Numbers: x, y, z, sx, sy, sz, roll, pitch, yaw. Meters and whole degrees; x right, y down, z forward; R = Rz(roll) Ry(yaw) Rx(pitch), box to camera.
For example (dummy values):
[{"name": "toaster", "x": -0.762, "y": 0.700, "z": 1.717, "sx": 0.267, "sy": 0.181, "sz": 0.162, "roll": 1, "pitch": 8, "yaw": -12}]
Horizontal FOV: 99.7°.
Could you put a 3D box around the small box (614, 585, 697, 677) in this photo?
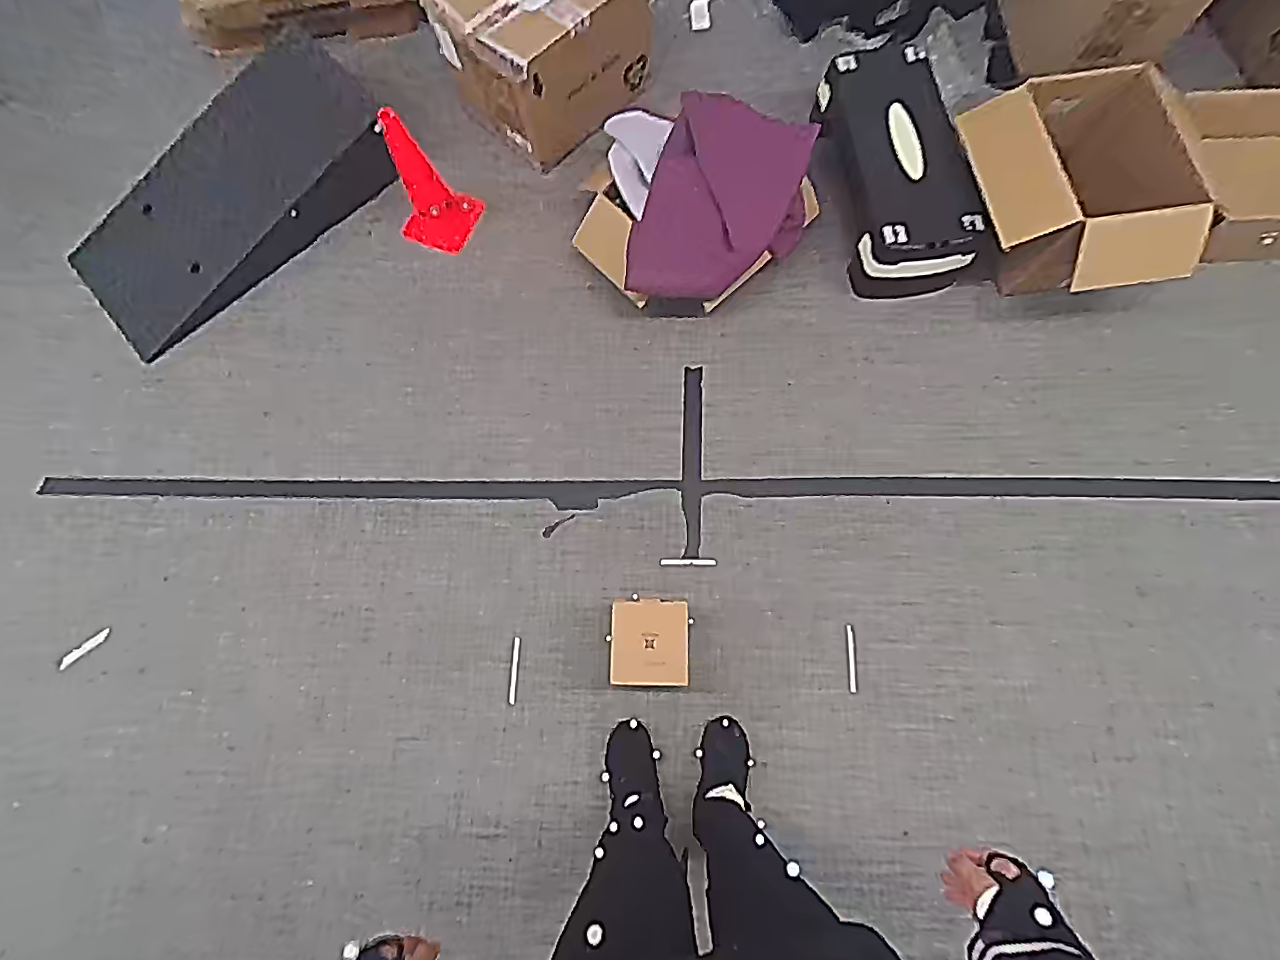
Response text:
[{"name": "small box", "x": 0.034, "y": 0.316, "z": 1.147, "sx": 0.168, "sy": 0.176, "sz": 0.179, "roll": -1, "pitch": 77, "yaw": 3}]
